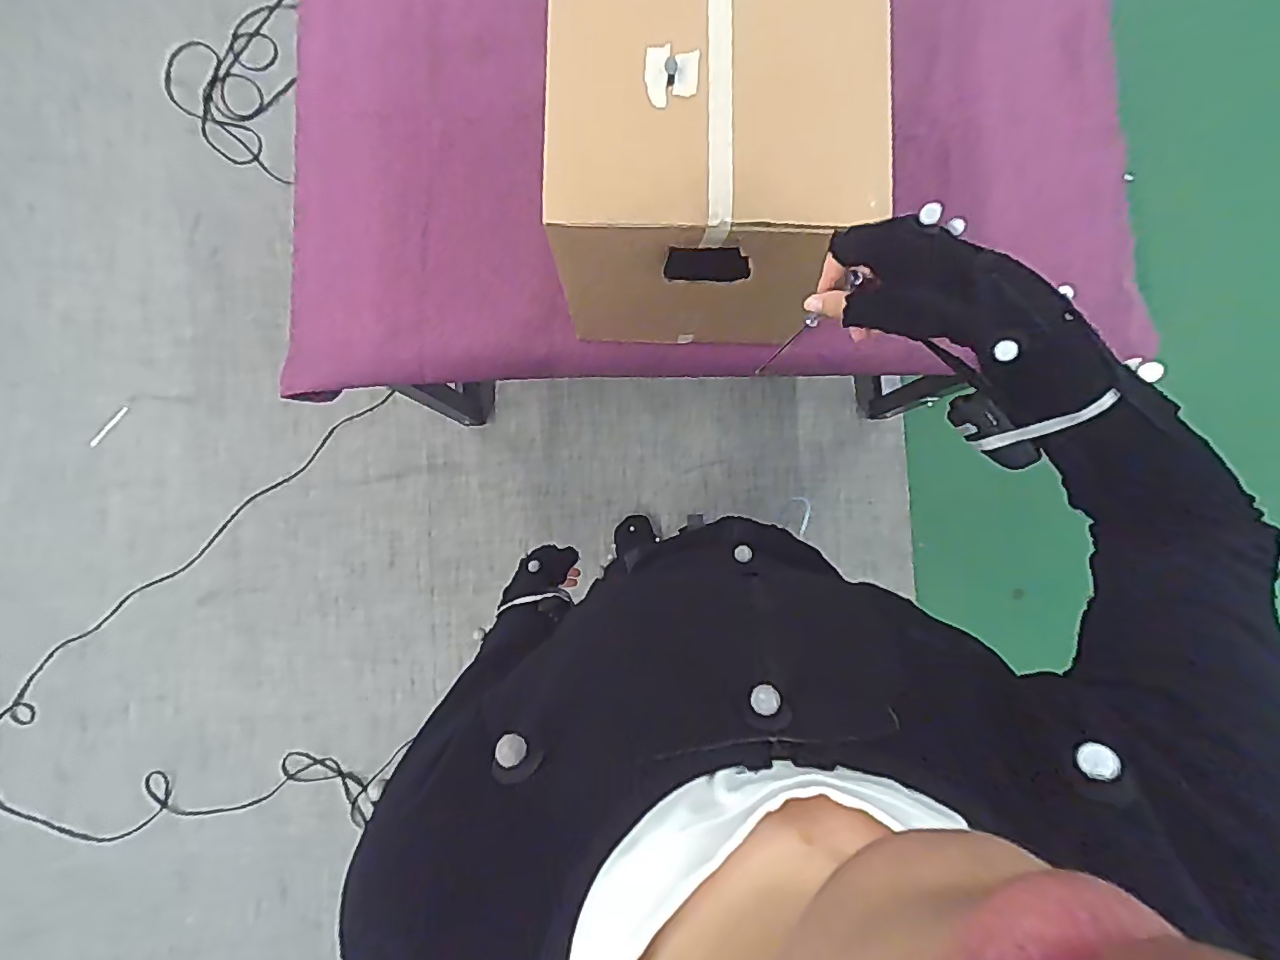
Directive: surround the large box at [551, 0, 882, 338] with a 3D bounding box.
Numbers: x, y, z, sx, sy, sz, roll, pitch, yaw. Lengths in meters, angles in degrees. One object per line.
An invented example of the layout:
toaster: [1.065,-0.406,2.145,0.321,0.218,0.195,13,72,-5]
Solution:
large box: [0.068,-0.419,0.654,0.320,0.320,0.408,1,87,-1]
